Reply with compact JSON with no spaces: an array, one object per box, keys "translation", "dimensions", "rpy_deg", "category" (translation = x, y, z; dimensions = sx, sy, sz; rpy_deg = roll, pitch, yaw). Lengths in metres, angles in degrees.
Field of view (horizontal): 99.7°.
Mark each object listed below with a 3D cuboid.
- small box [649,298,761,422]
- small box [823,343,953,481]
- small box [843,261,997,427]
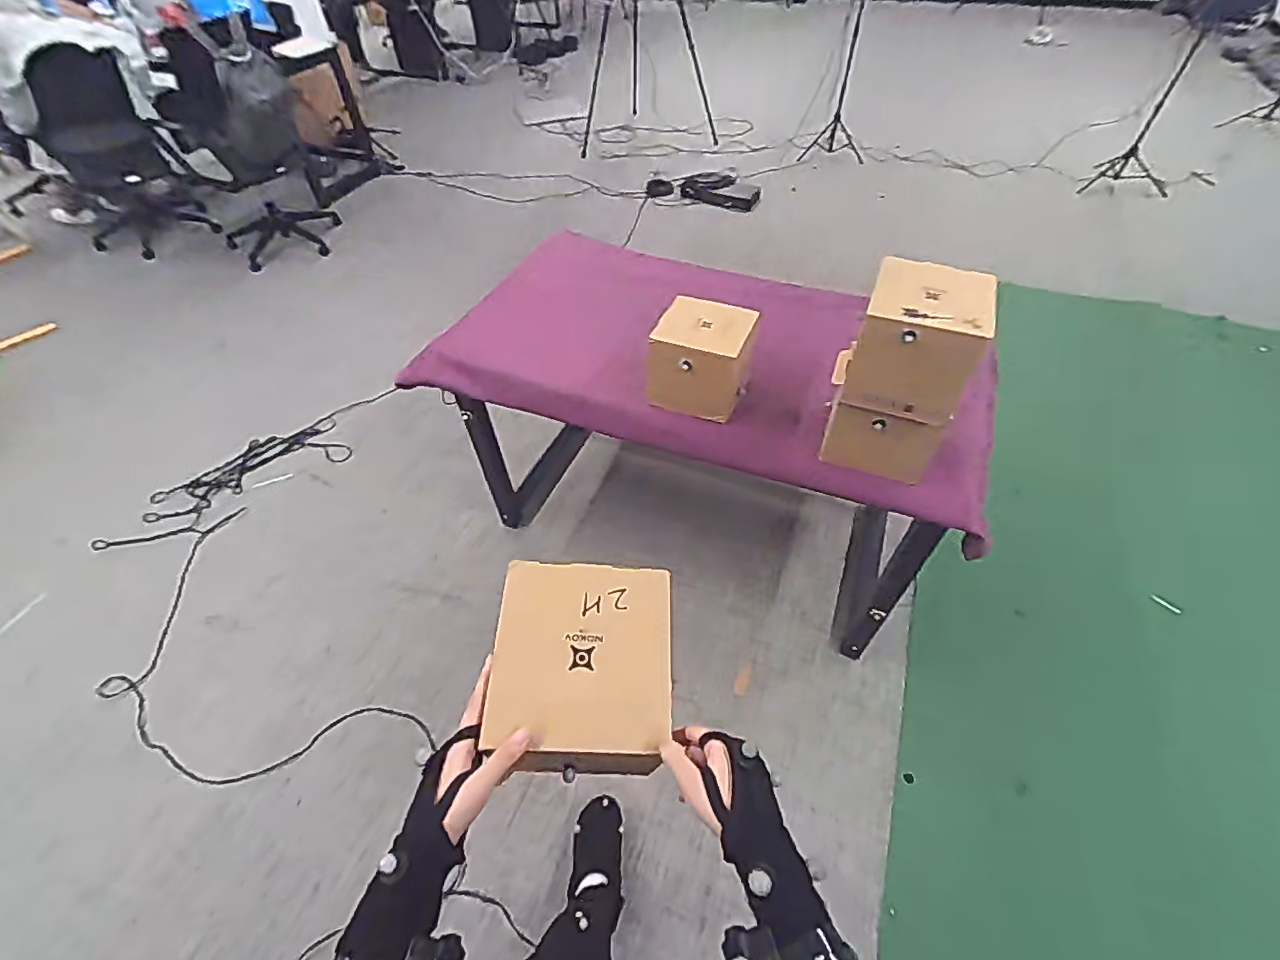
[{"translation":[0.130,-0.242,1.103],"dimensions":[0.179,0.176,0.168],"rpy_deg":[18,52,16],"category":"small box"},{"translation":[0.447,-0.121,0.986],"dimensions":[0.179,0.176,0.168],"rpy_deg":[16,53,15],"category":"small box"},{"translation":[0.433,-0.215,0.851],"dimensions":[0.168,0.176,0.179],"rpy_deg":[17,52,17],"category":"small box"}]
